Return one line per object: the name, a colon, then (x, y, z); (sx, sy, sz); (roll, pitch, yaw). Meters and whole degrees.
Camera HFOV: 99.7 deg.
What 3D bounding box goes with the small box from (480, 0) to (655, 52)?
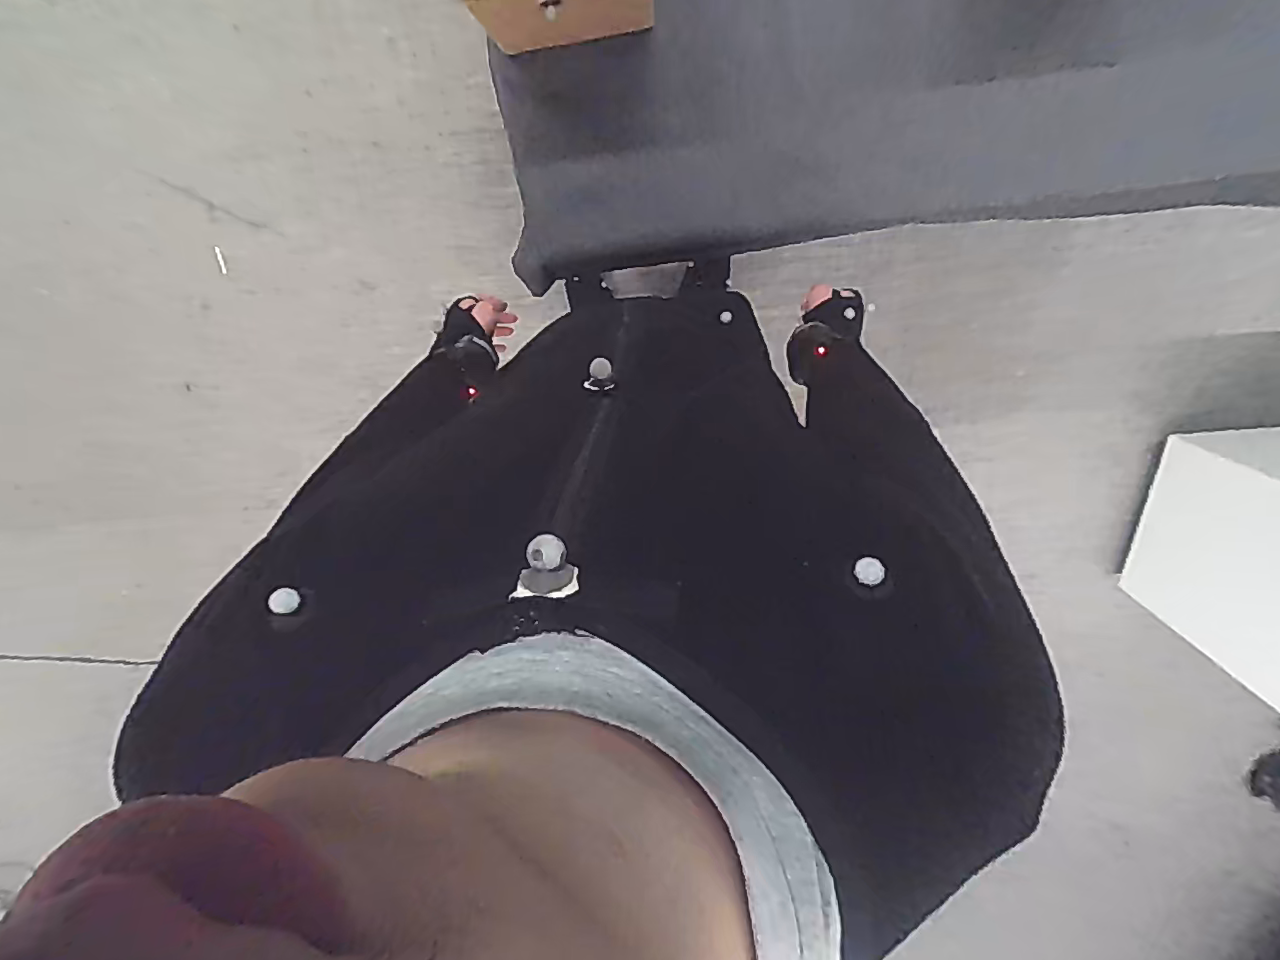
small box: (-0.078, -0.532, 0.501); (0.179, 0.176, 0.168); (-9, 113, 2)
